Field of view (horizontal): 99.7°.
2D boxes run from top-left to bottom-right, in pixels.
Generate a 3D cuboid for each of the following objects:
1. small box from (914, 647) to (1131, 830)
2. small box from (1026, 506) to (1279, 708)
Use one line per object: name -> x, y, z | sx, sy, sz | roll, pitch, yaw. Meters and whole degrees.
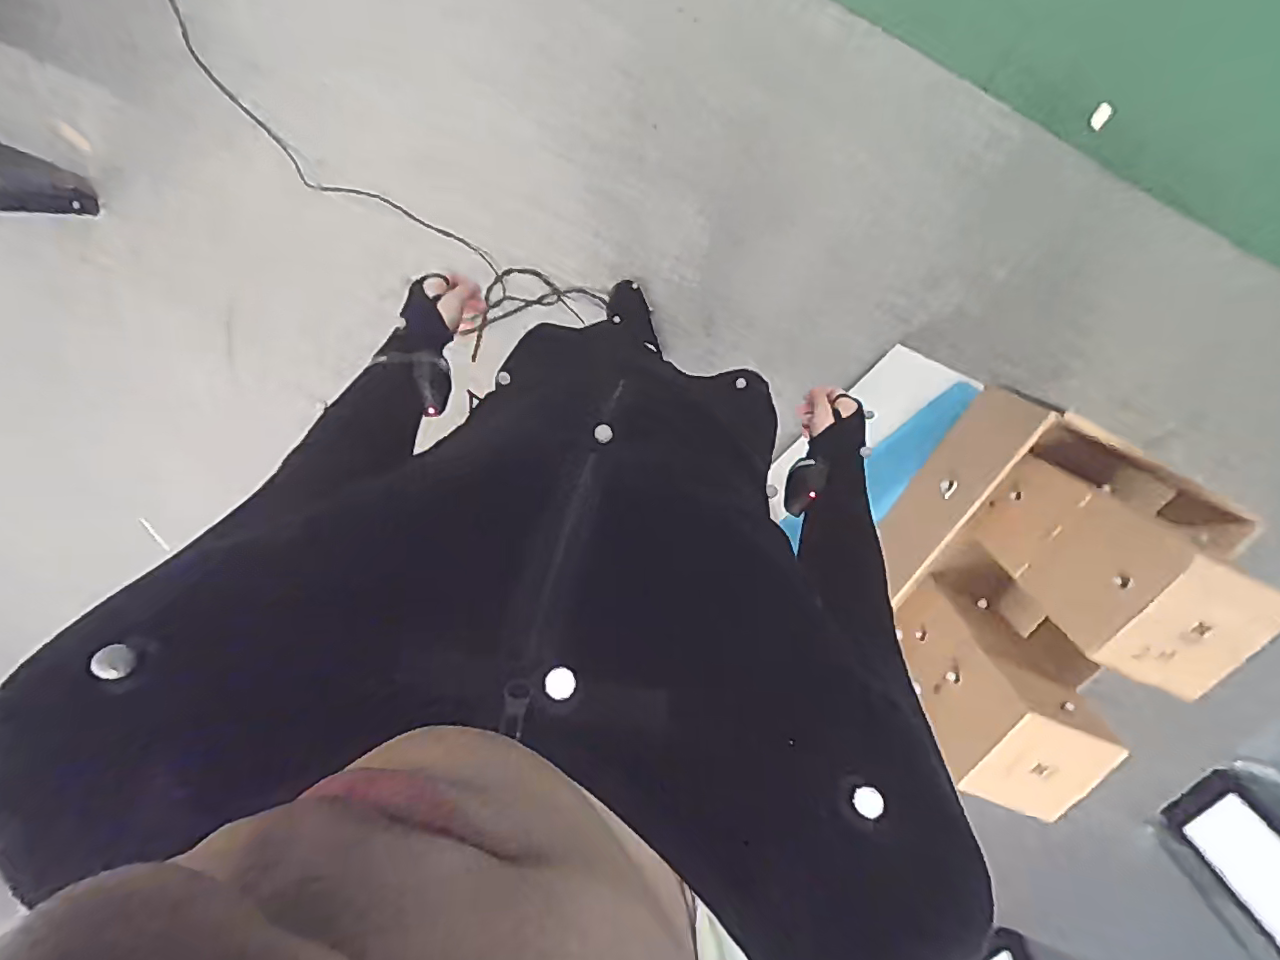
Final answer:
small box -> 0.576, 0.393, 0.842 | 0.179, 0.176, 0.168 | 23, 111, -7
small box -> 0.683, 0.162, 0.733 | 0.168, 0.176, 0.179 | 24, 114, -6
